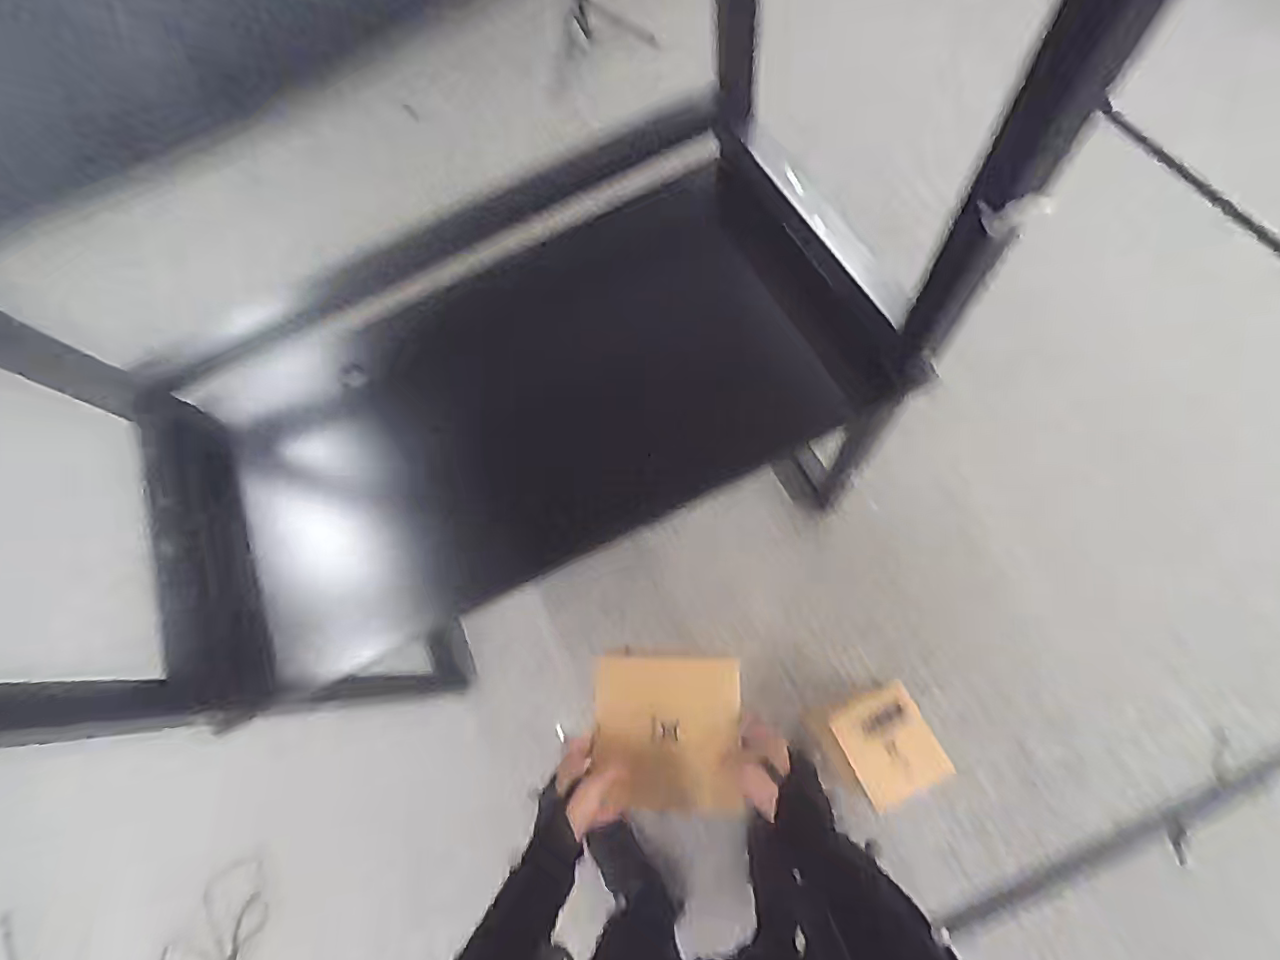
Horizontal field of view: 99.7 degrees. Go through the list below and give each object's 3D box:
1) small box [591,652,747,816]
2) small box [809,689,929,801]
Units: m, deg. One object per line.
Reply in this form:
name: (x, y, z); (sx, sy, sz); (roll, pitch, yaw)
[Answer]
small box: (0.040, 0.311, 0.694); (0.179, 0.176, 0.168); (-3, 74, 7)
small box: (0.507, 0.591, 1.230); (0.179, 0.176, 0.168); (-28, 68, -1)
